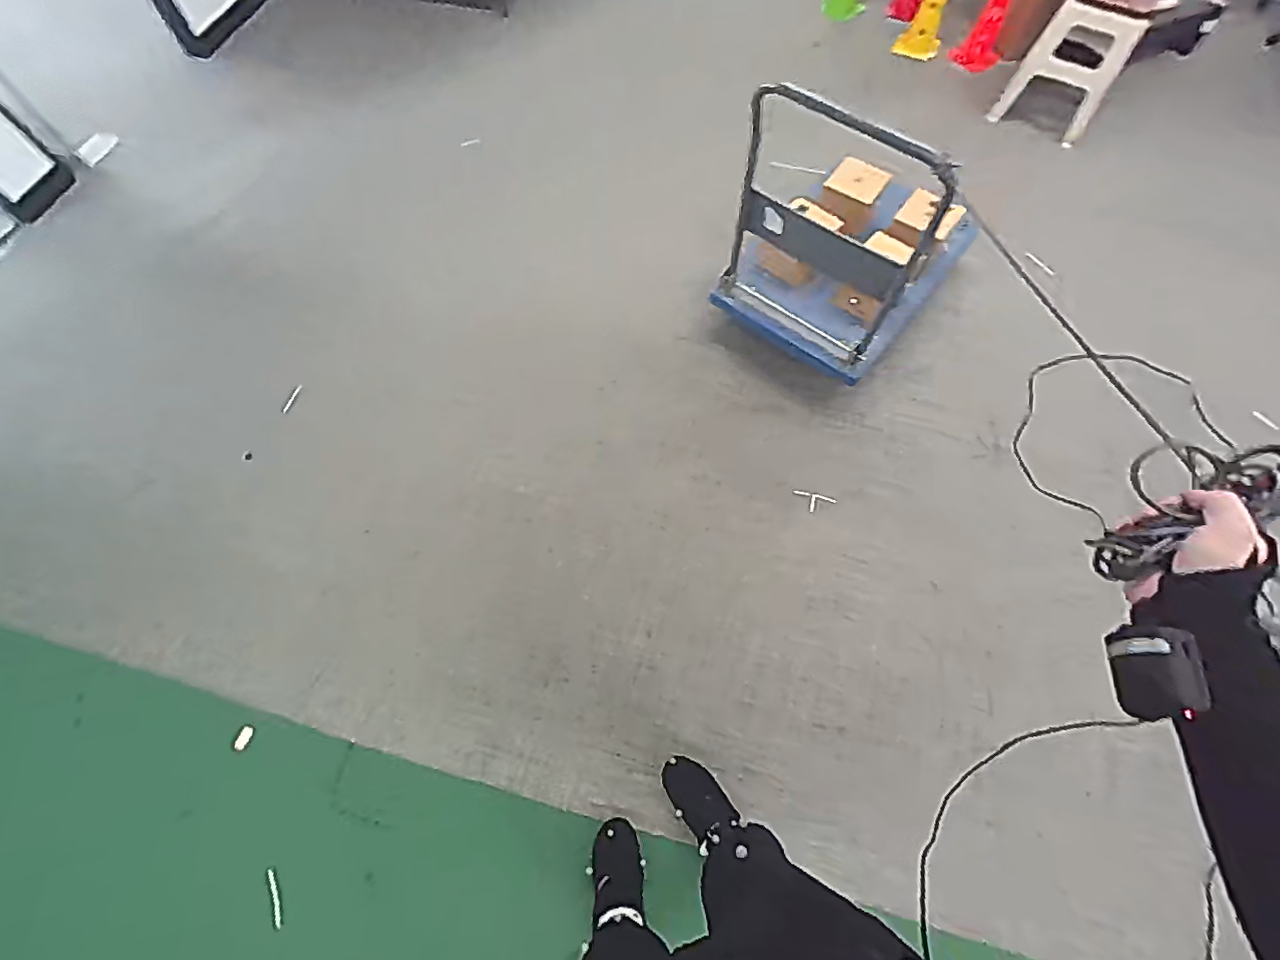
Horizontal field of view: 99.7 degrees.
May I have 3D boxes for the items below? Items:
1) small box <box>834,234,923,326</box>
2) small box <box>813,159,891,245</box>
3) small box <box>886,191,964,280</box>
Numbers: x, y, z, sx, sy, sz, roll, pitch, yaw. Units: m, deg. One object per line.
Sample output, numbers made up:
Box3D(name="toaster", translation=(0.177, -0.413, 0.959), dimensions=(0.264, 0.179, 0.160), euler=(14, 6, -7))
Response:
Box3D(name="small box", translation=(0.743, -0.626, 1.703), dimensions=(0.168, 0.176, 0.179), euler=(39, 72, 16))
Box3D(name="small box", translation=(0.715, -0.946, 1.849), dimensions=(0.168, 0.176, 0.179), euler=(34, 70, 14))
Box3D(name="small box", translation=(0.916, -0.801, 1.780), dimensions=(0.168, 0.176, 0.179), euler=(35, 71, 16))
